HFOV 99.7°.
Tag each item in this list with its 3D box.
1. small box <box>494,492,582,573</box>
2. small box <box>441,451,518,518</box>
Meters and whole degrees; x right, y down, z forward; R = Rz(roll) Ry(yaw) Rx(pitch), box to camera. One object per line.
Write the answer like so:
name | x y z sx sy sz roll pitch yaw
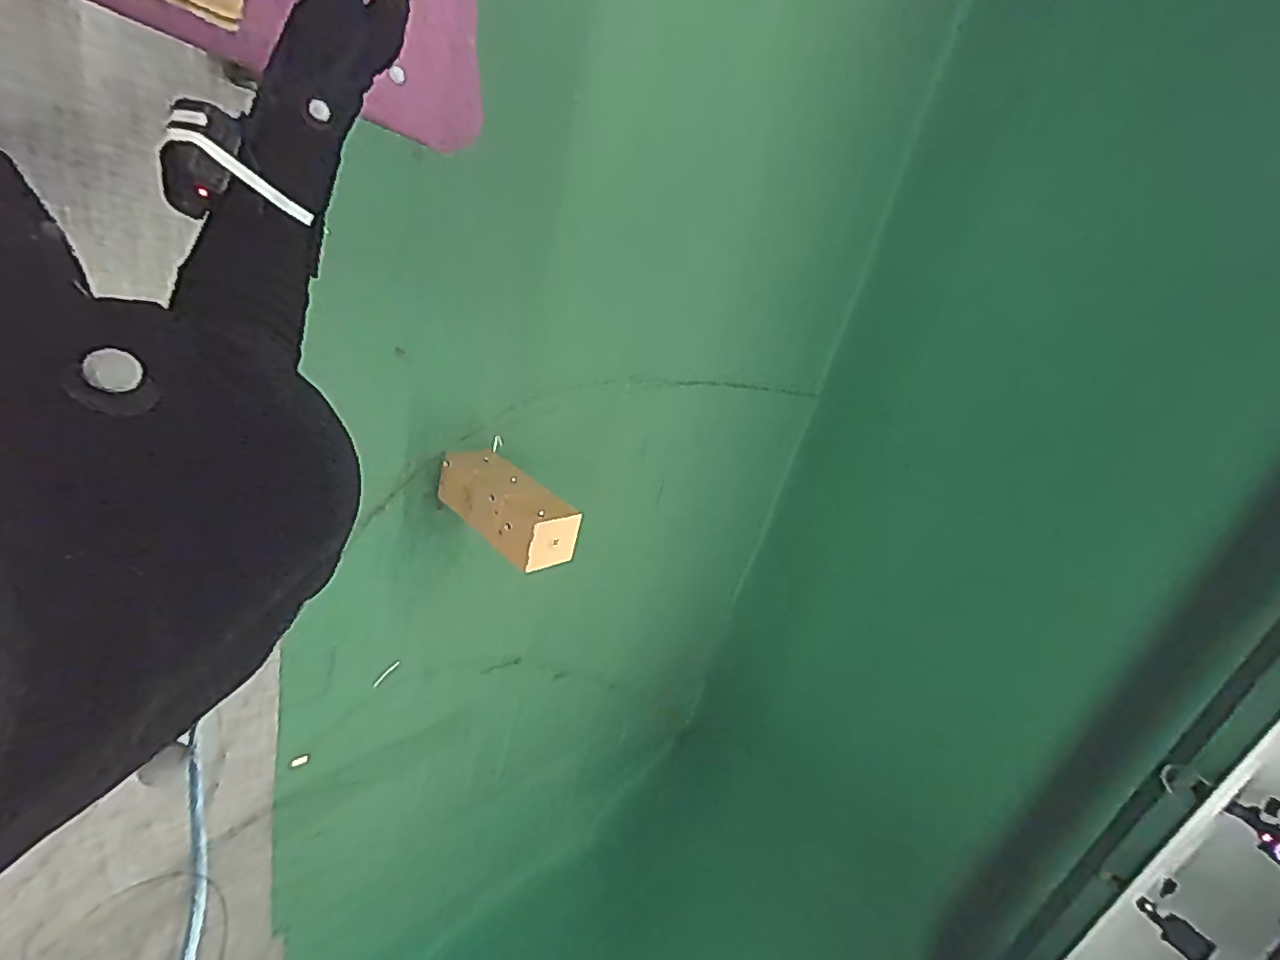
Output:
small box | -0.306 0.149 1.615 0.179 0.176 0.168 -10 123 -48
small box | -0.538 0.009 1.798 0.179 0.176 0.168 -7 120 -50
